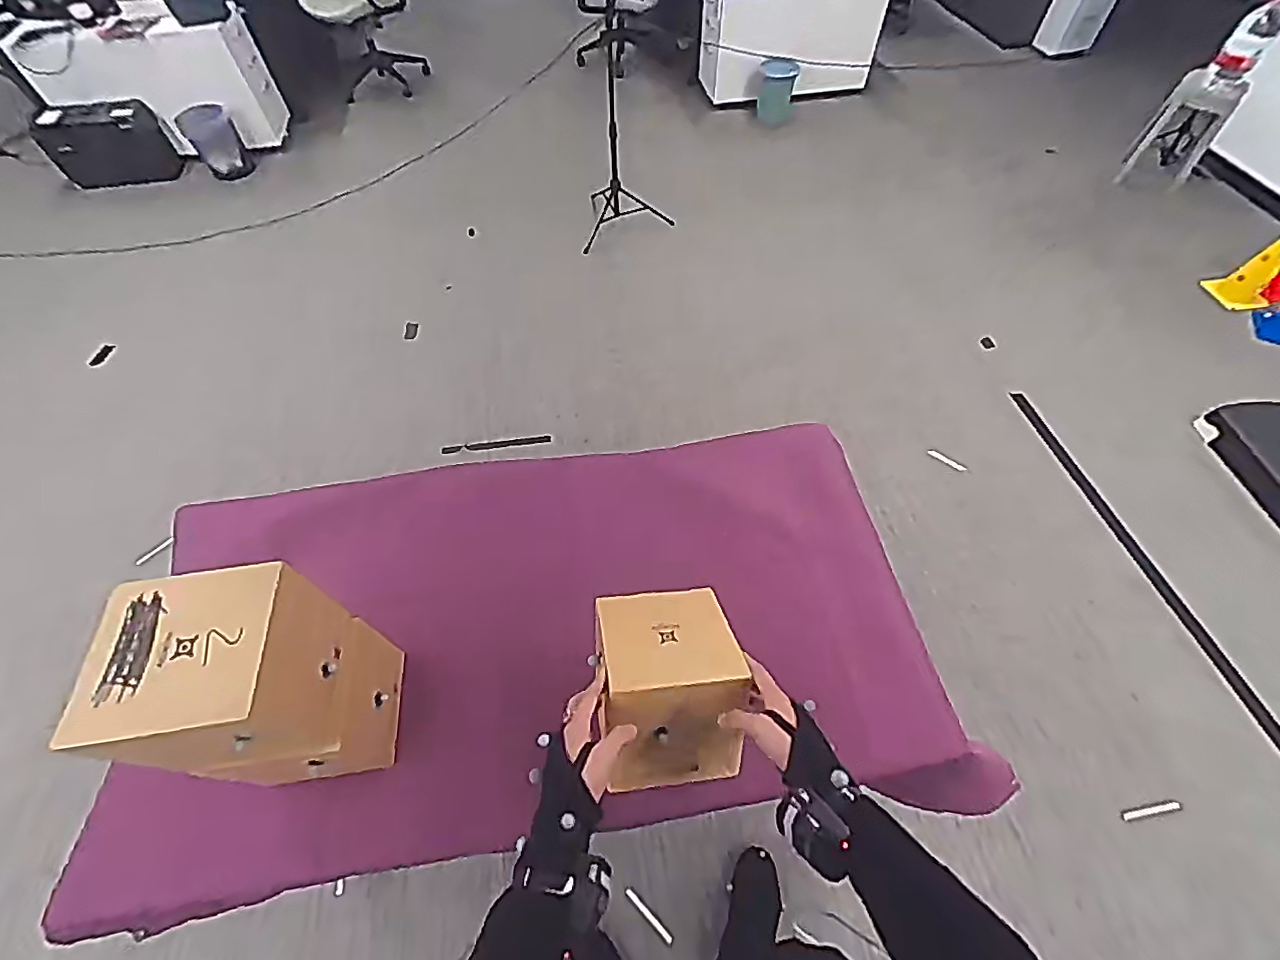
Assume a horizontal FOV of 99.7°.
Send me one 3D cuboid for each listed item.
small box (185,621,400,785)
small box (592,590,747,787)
[{"bbox_3d":[-0.448,0.307,0.737,0.179,0.176,0.168,-7,56,-4],"label":"small box"},{"bbox_3d":[0.028,0.268,0.701,0.168,0.176,0.179,-3,22,-10],"label":"small box"}]
